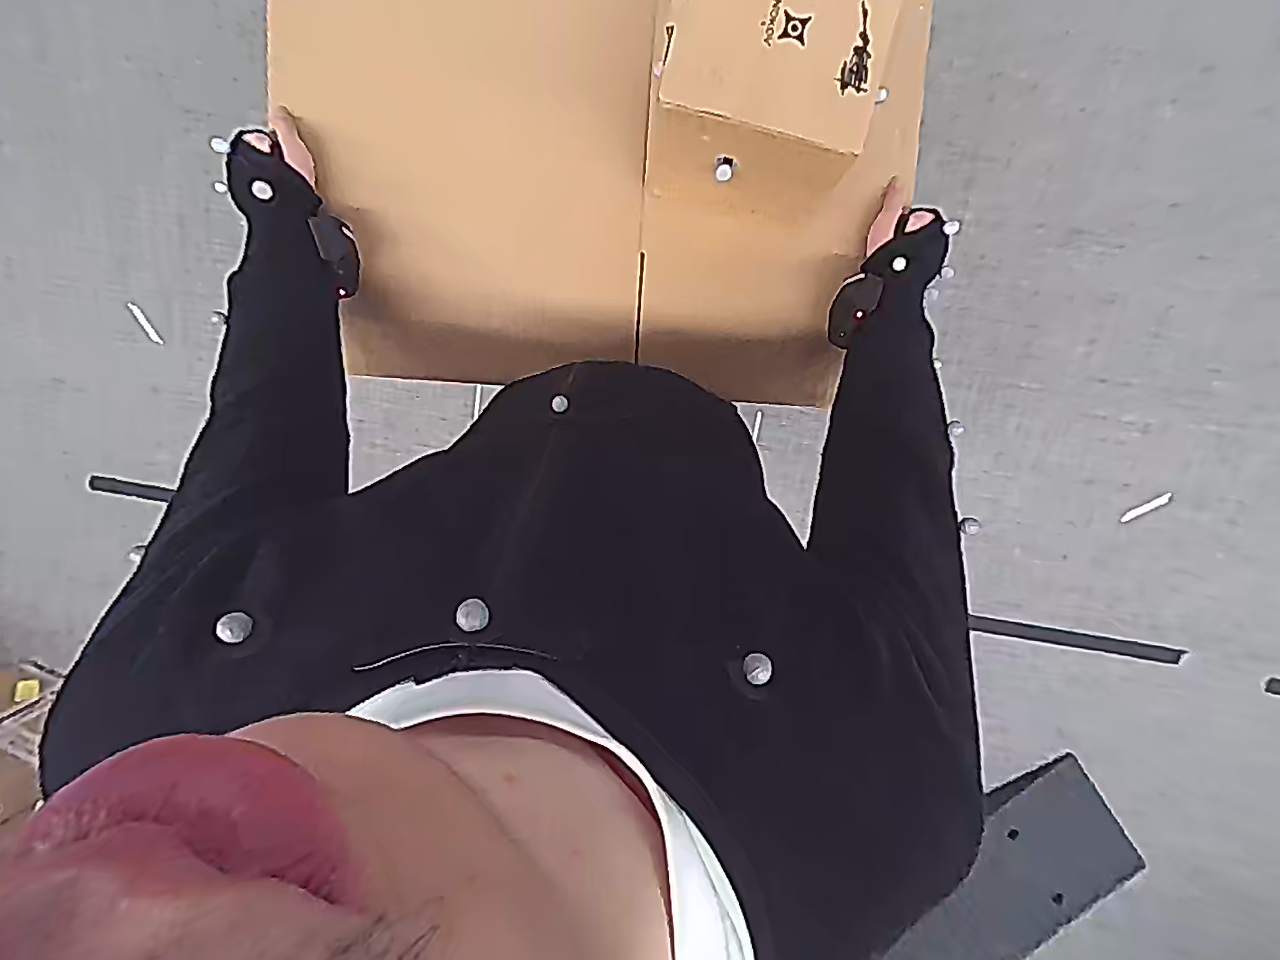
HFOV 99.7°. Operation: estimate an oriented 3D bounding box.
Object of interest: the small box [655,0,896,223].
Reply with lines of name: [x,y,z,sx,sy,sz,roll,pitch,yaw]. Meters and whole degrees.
small box: [0.116,-0.375,0.522,0.179,0.176,0.168,14,95,-1]
